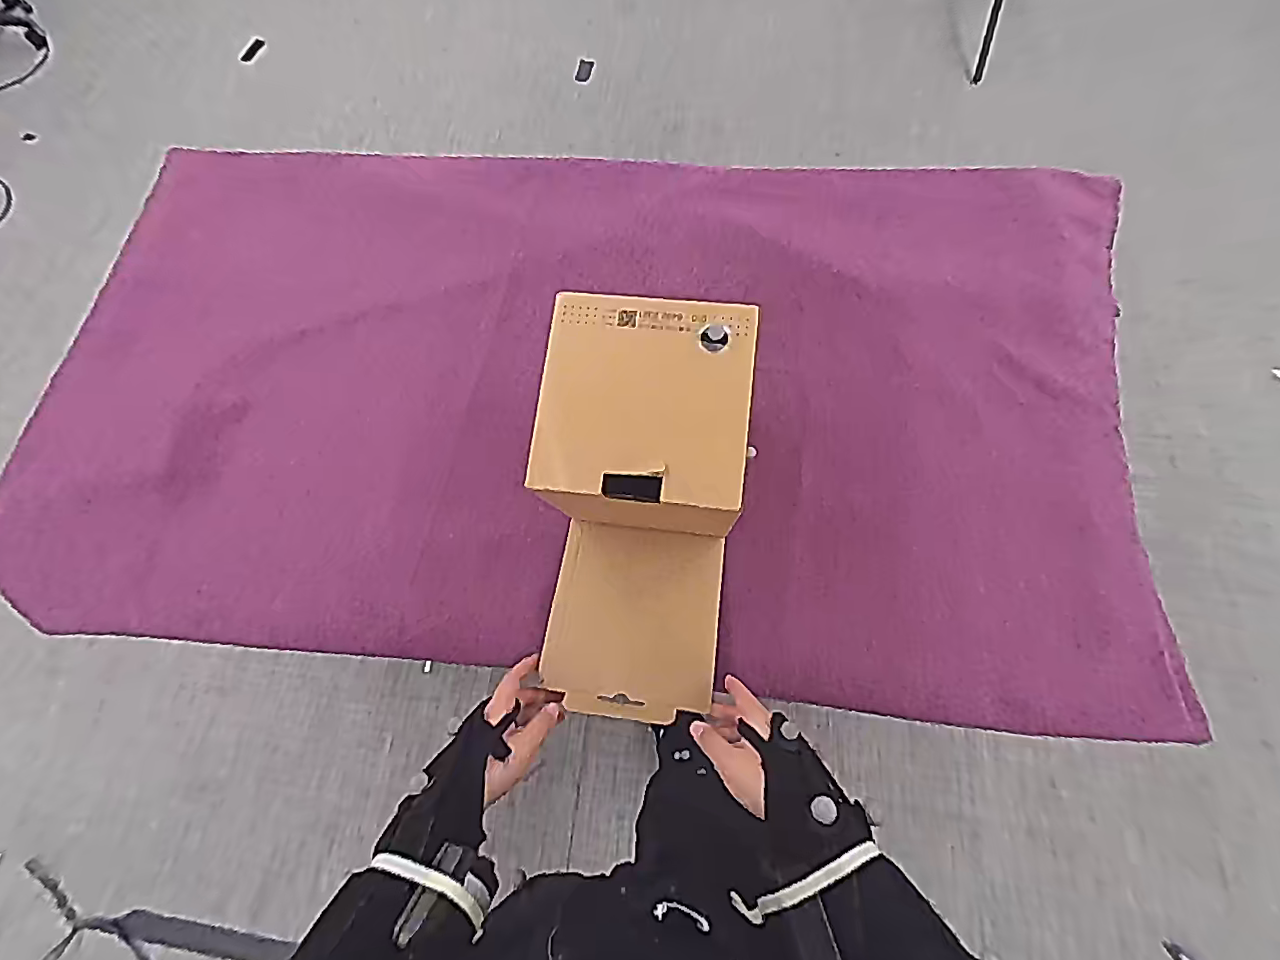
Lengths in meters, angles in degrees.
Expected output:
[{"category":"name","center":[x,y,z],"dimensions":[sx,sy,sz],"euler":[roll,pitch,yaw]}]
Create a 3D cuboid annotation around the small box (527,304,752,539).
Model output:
[{"category":"small box","center":[0.008,-0.045,0.500],"dimensions":[0.168,0.179,0.176],"euler":[6,79,6]}]
